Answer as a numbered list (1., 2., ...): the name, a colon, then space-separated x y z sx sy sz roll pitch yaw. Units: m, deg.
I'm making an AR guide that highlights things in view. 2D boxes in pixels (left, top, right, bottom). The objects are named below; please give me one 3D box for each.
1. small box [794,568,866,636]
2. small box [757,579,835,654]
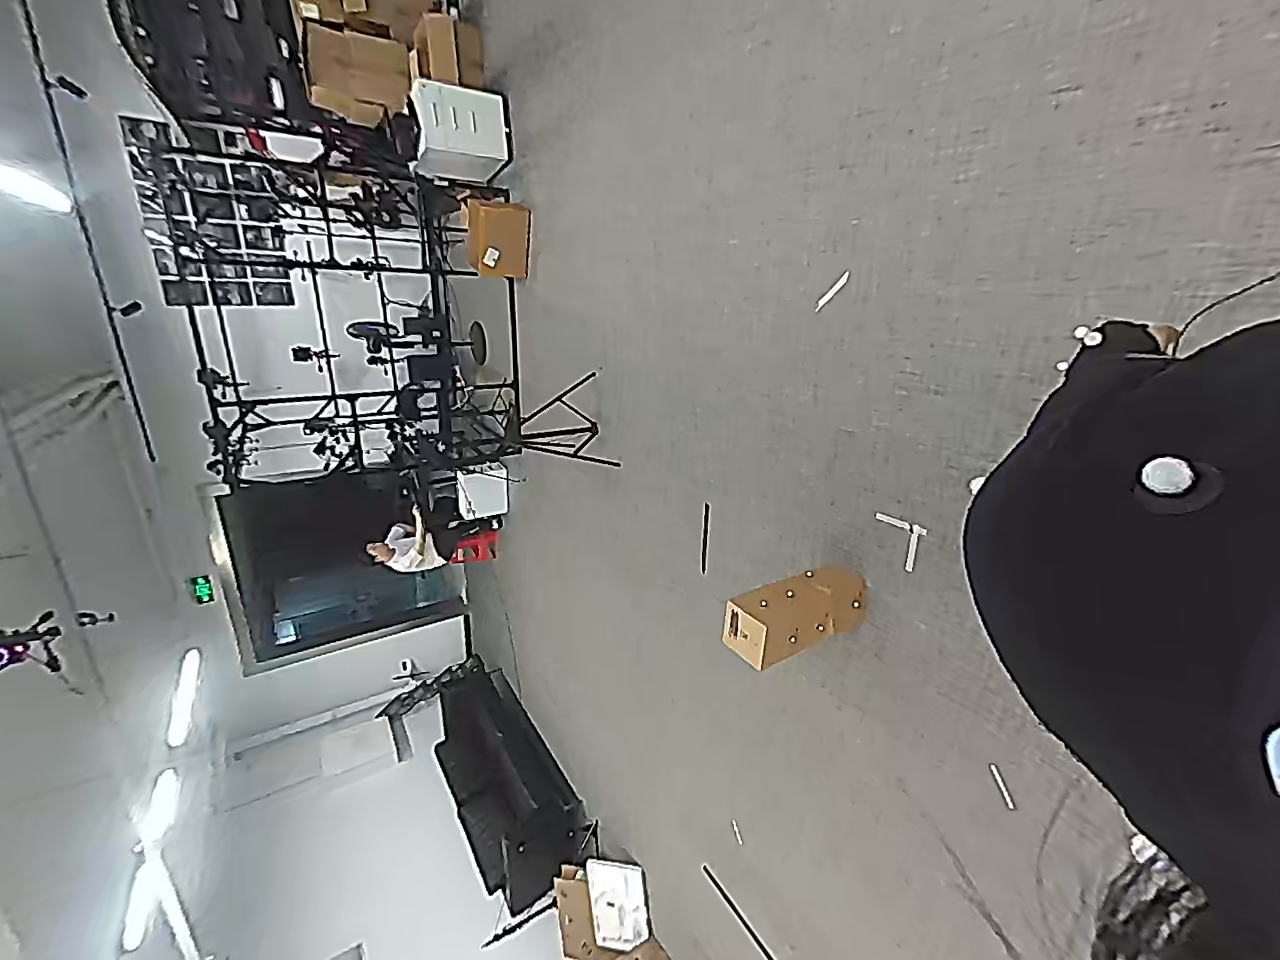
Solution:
1. small box: 0.662 0.418 1.891 0.179 0.176 0.168 10 108 57
2. small box: 0.521 0.449 1.815 0.179 0.176 0.168 29 123 52
